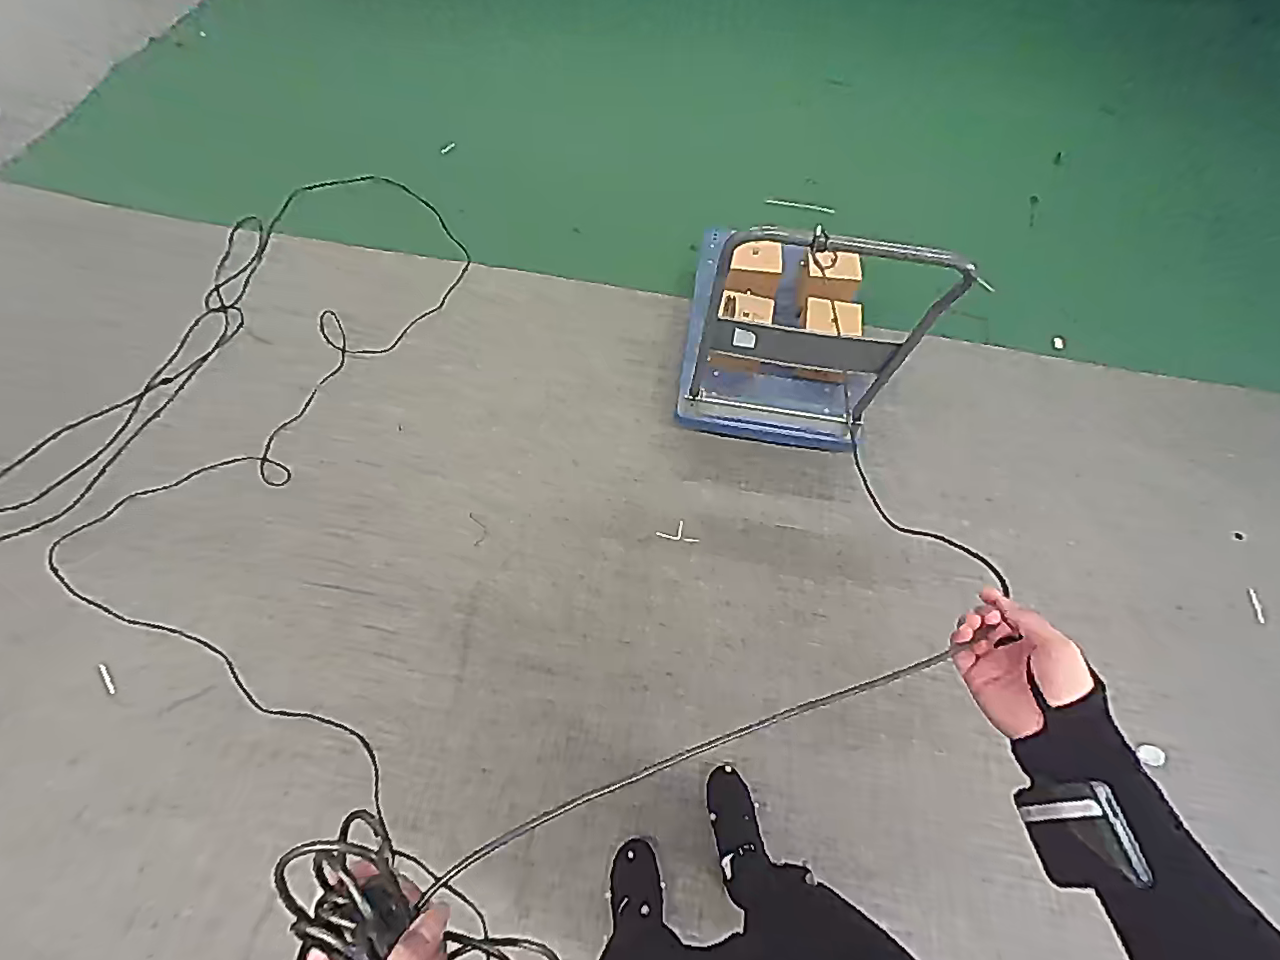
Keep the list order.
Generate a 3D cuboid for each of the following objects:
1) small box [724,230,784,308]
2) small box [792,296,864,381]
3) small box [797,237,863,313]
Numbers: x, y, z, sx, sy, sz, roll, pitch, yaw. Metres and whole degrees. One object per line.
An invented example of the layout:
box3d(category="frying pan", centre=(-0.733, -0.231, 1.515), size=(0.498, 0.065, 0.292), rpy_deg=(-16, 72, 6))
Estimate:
box3d(category="small box", centre=(0.378, -0.702, 1.811), size=(0.168, 0.176, 0.179), rpy_deg=(7, 63, 0))
box3d(category="small box", centre=(0.583, -0.438, 1.688), size=(0.168, 0.176, 0.179), rpy_deg=(11, 65, 3))
box3d(category="small box", centre=(0.629, -0.676, 1.807), size=(0.168, 0.176, 0.179), rpy_deg=(6, 65, 2))
